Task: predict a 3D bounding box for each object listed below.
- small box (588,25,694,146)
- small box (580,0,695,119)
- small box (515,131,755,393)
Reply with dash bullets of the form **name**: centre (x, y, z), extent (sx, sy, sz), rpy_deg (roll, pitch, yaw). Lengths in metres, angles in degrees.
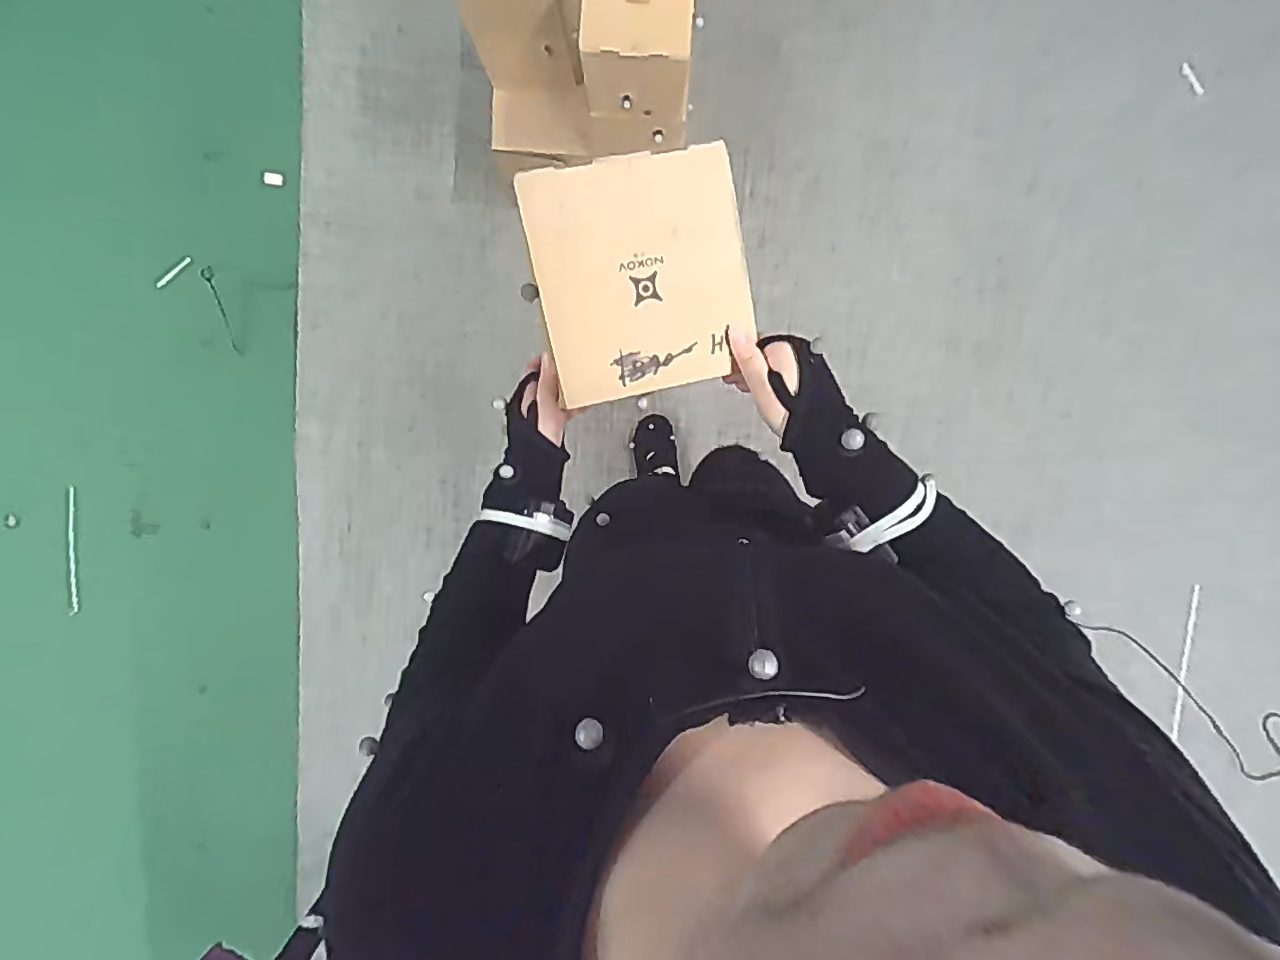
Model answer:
- **small box**: centre (0.001, -0.734, 1.030), extent (0.179, 0.176, 0.168), rpy_deg (5, 94, 0)
- **small box**: centre (-0.001, -0.724, 0.867), extent (0.168, 0.176, 0.179), rpy_deg (5, 96, 0)
- **small box**: centre (-0.012, -0.179, 0.494), extent (0.168, 0.176, 0.179), rpy_deg (-12, 101, -7)
